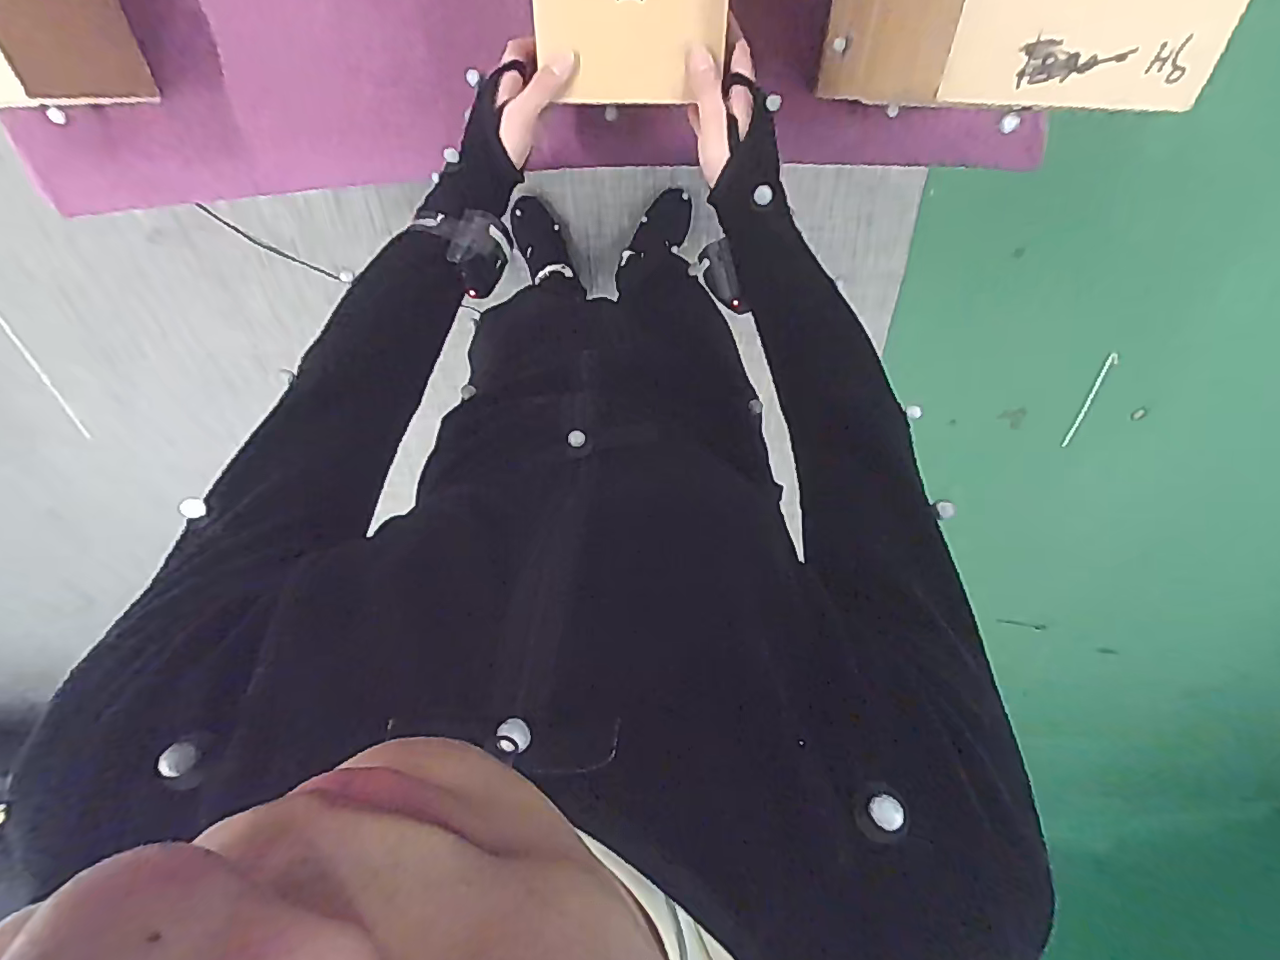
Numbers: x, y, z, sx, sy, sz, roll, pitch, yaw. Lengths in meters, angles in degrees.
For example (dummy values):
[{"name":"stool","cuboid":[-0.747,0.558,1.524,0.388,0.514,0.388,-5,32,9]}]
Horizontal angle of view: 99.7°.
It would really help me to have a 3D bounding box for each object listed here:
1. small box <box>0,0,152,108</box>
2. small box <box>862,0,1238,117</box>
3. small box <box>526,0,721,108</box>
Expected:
[{"name":"small box","cuboid":[-0.637,-0.459,0.508,0.168,0.176,0.179,-1,125,2]},{"name":"small box","cuboid":[0.271,-0.355,0.365,0.168,0.176,0.179,3,125,0]},{"name":"small box","cuboid":[-0.010,-0.456,0.505,0.168,0.176,0.179,1,125,1]}]
